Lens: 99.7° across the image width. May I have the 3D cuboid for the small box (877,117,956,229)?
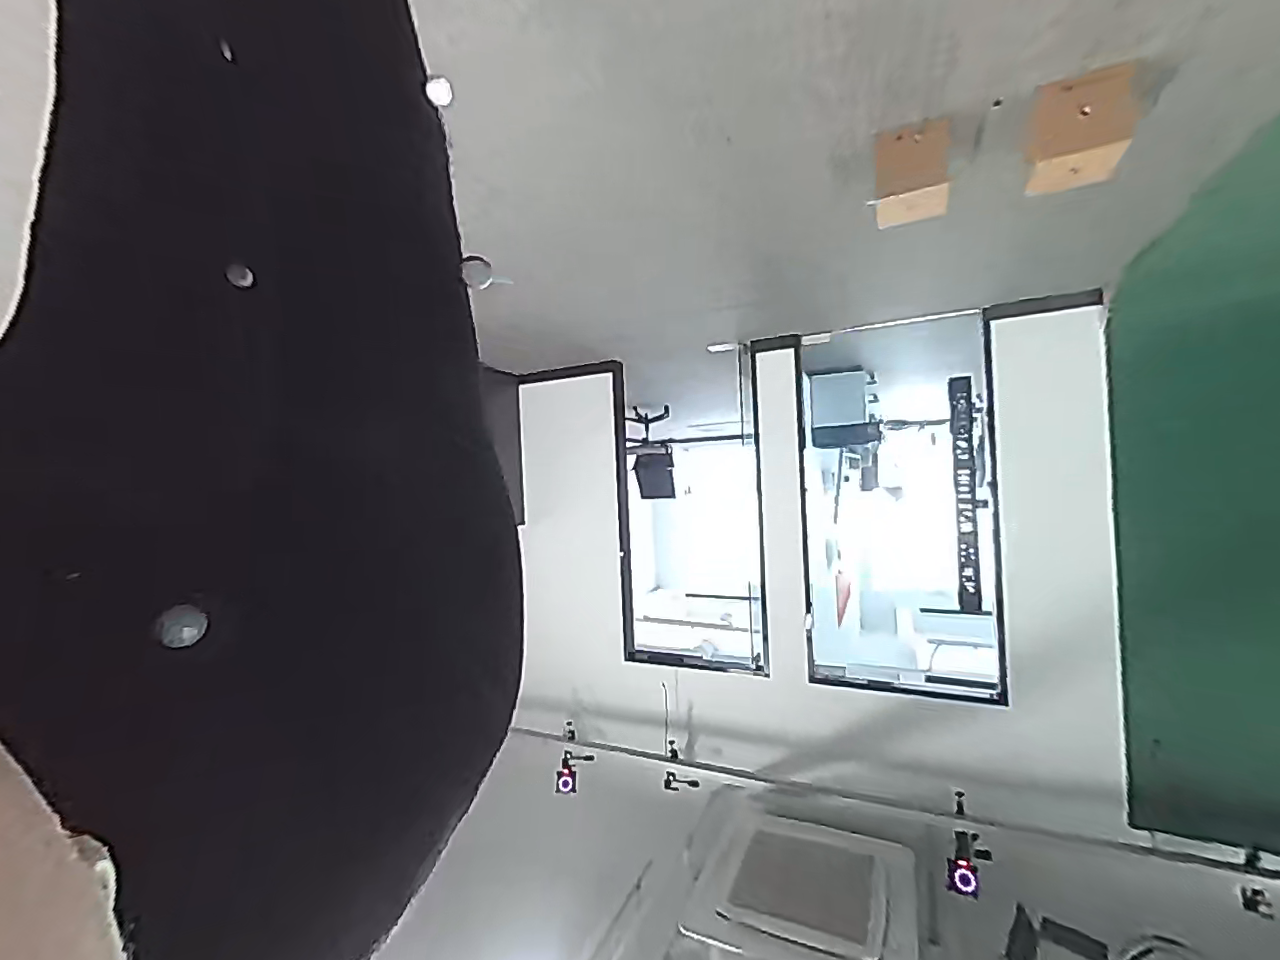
[{"bbox_3d":[0.692,-0.765,1.361,0.168,0.176,0.179,-3,179,26],"label":"small box"}]

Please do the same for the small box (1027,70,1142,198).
[{"bbox_3d":[0.986,-0.776,1.216,0.168,0.176,0.179,-1,180,26],"label":"small box"}]
